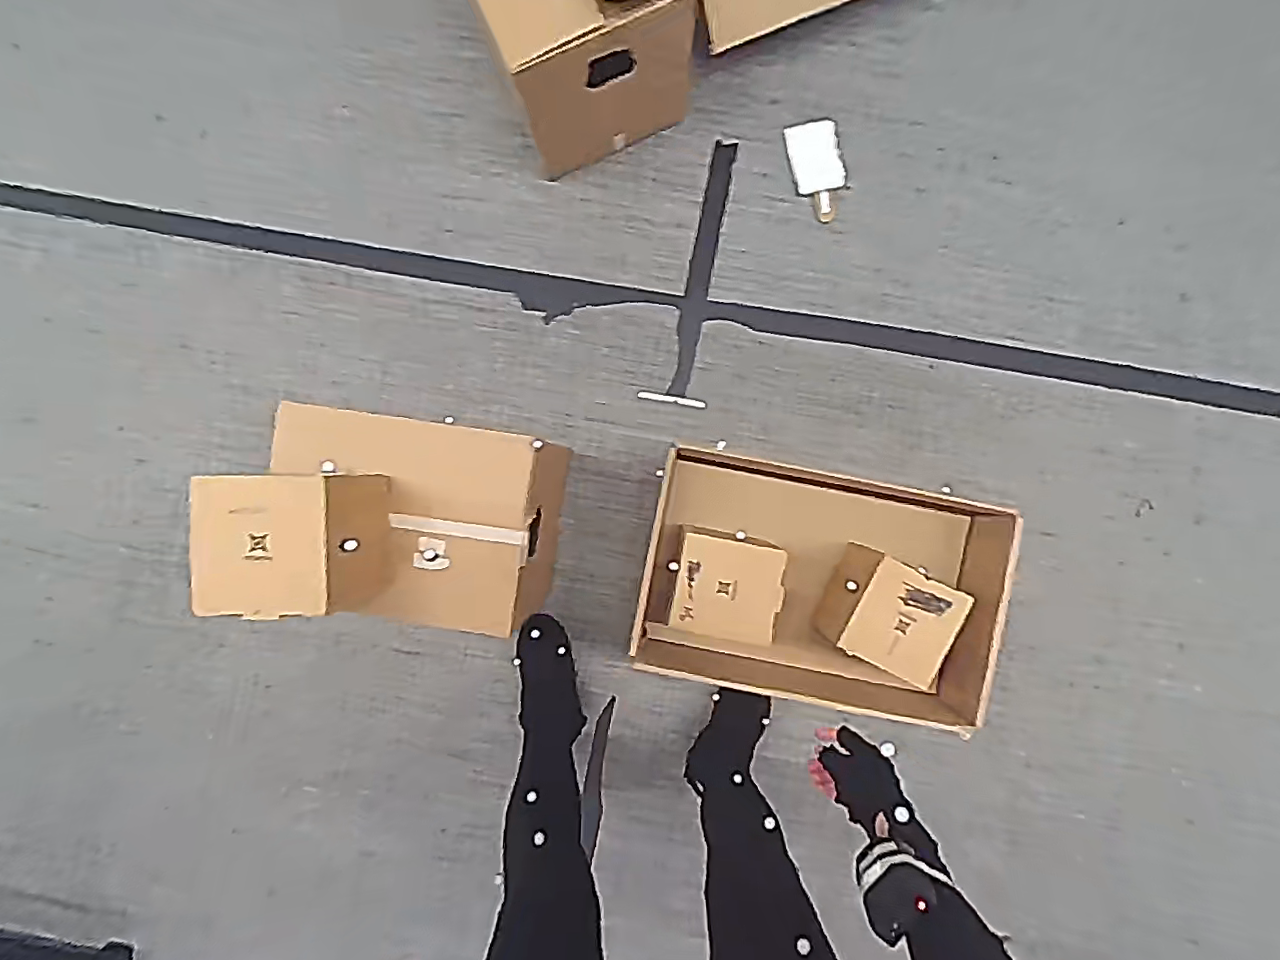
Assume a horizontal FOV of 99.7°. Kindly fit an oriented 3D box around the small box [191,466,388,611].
[{"bbox_3d":[-0.460,0.070,0.735,0.168,0.176,0.179,0,91,0],"label":"small box"}]

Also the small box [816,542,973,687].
[{"bbox_3d":[0.441,0.228,0.971,0.168,0.176,0.179,28,92,2],"label":"small box"}]

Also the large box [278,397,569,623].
[{"bbox_3d":[-0.364,0.043,0.974,0.408,0.320,0.320,8,92,1],"label":"large box"}]

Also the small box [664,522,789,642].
[{"bbox_3d":[0.147,0.174,0.977,0.179,0.176,0.168,12,90,0],"label":"small box"}]
